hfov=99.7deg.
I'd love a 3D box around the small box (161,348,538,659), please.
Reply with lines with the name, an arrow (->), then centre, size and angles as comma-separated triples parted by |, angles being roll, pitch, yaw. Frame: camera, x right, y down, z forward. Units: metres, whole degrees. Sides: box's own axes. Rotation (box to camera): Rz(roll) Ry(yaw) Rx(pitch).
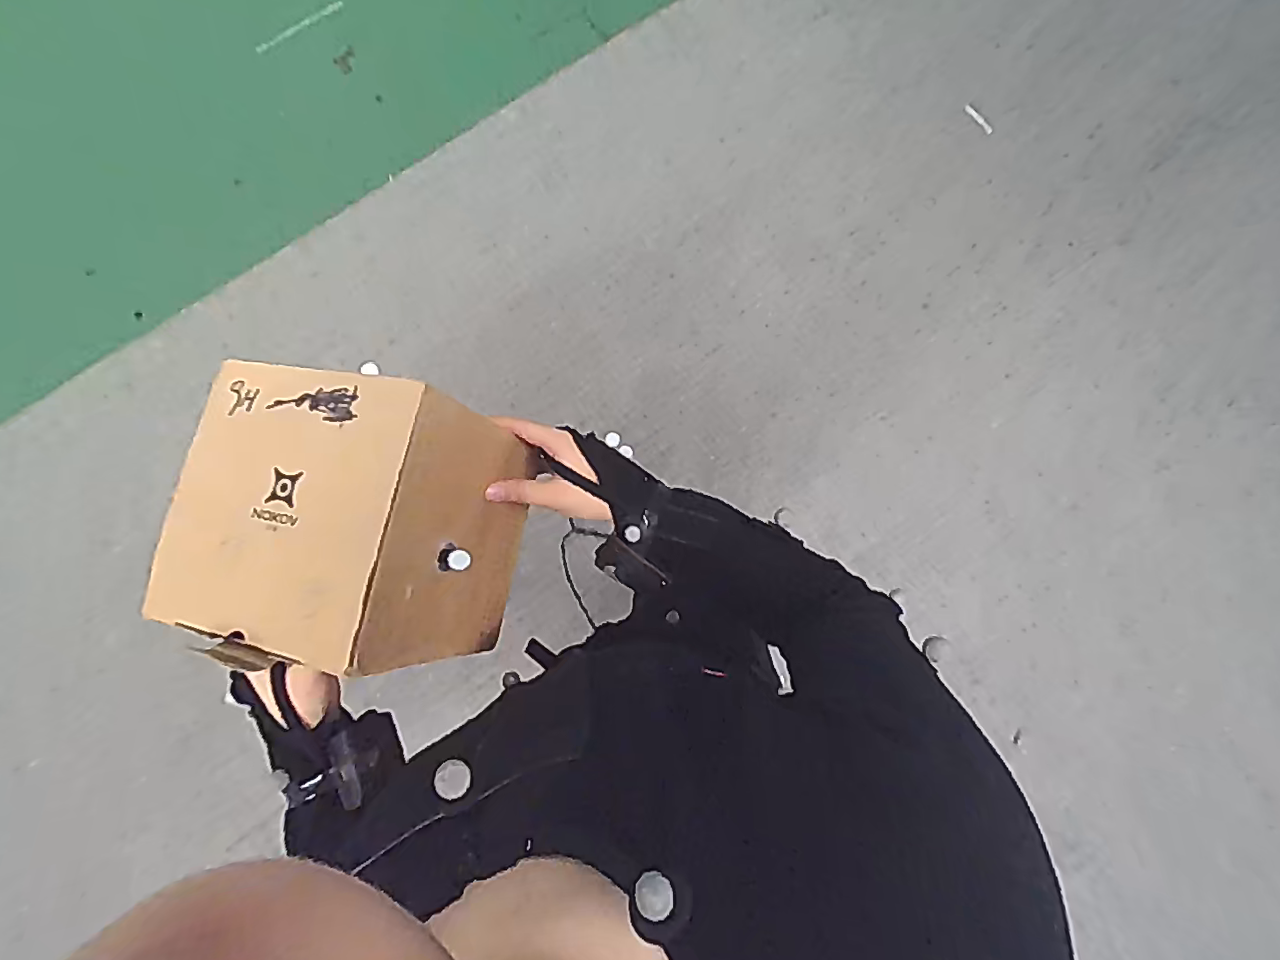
small box -> -0.197, 0.020, 0.415 | 0.168, 0.176, 0.179 | 9, 81, 16
